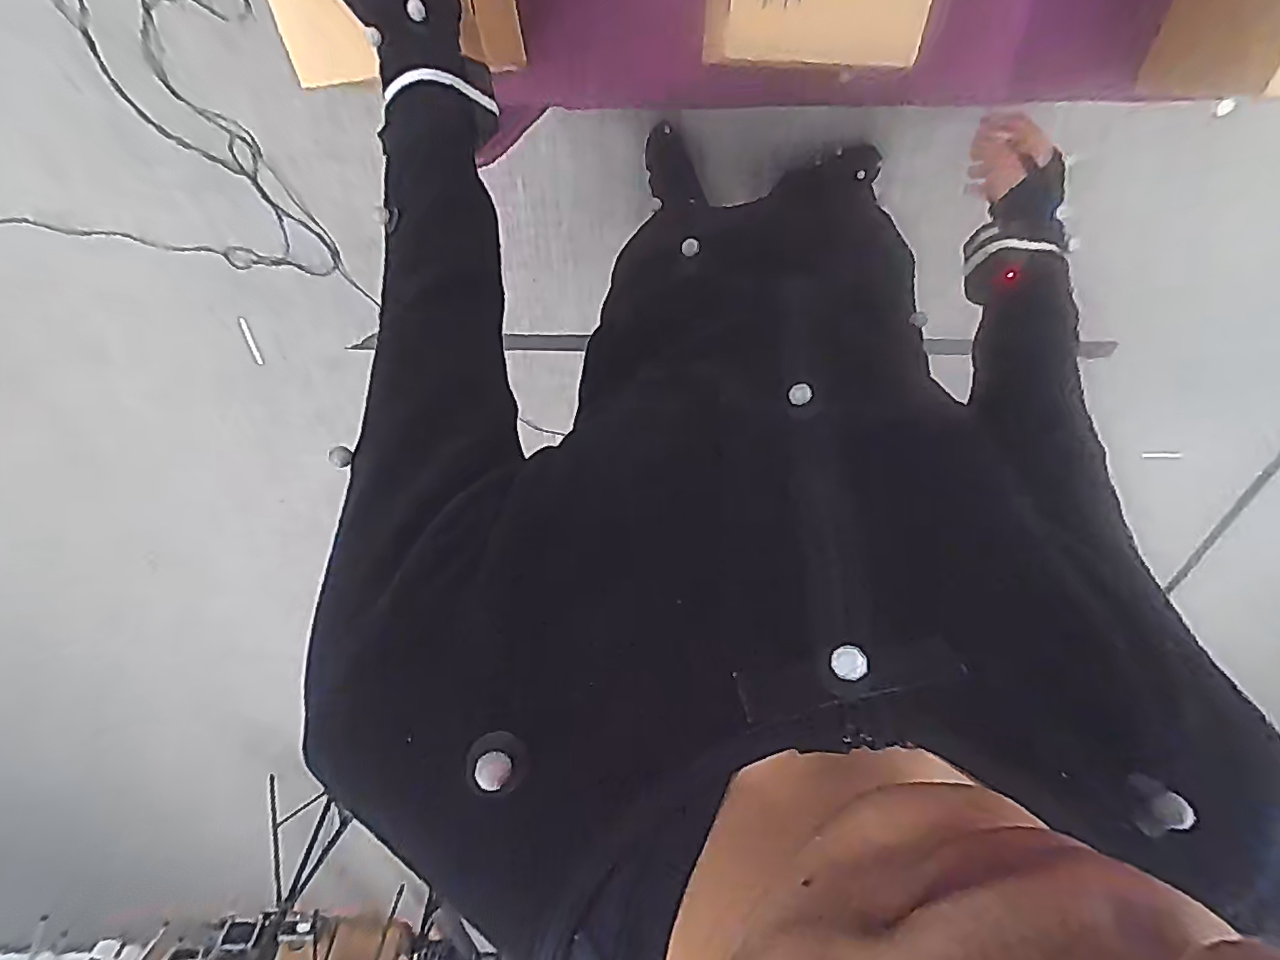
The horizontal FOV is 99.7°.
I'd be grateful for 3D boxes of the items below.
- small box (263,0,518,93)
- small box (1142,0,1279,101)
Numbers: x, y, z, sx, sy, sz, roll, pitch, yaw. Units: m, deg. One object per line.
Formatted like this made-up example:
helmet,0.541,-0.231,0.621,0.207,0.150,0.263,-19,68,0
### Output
small box,-0.231,-0.470,0.501,0.179,0.176,0.168,-5,126,5
small box,0.653,-0.471,0.515,0.168,0.176,0.179,1,127,-2
